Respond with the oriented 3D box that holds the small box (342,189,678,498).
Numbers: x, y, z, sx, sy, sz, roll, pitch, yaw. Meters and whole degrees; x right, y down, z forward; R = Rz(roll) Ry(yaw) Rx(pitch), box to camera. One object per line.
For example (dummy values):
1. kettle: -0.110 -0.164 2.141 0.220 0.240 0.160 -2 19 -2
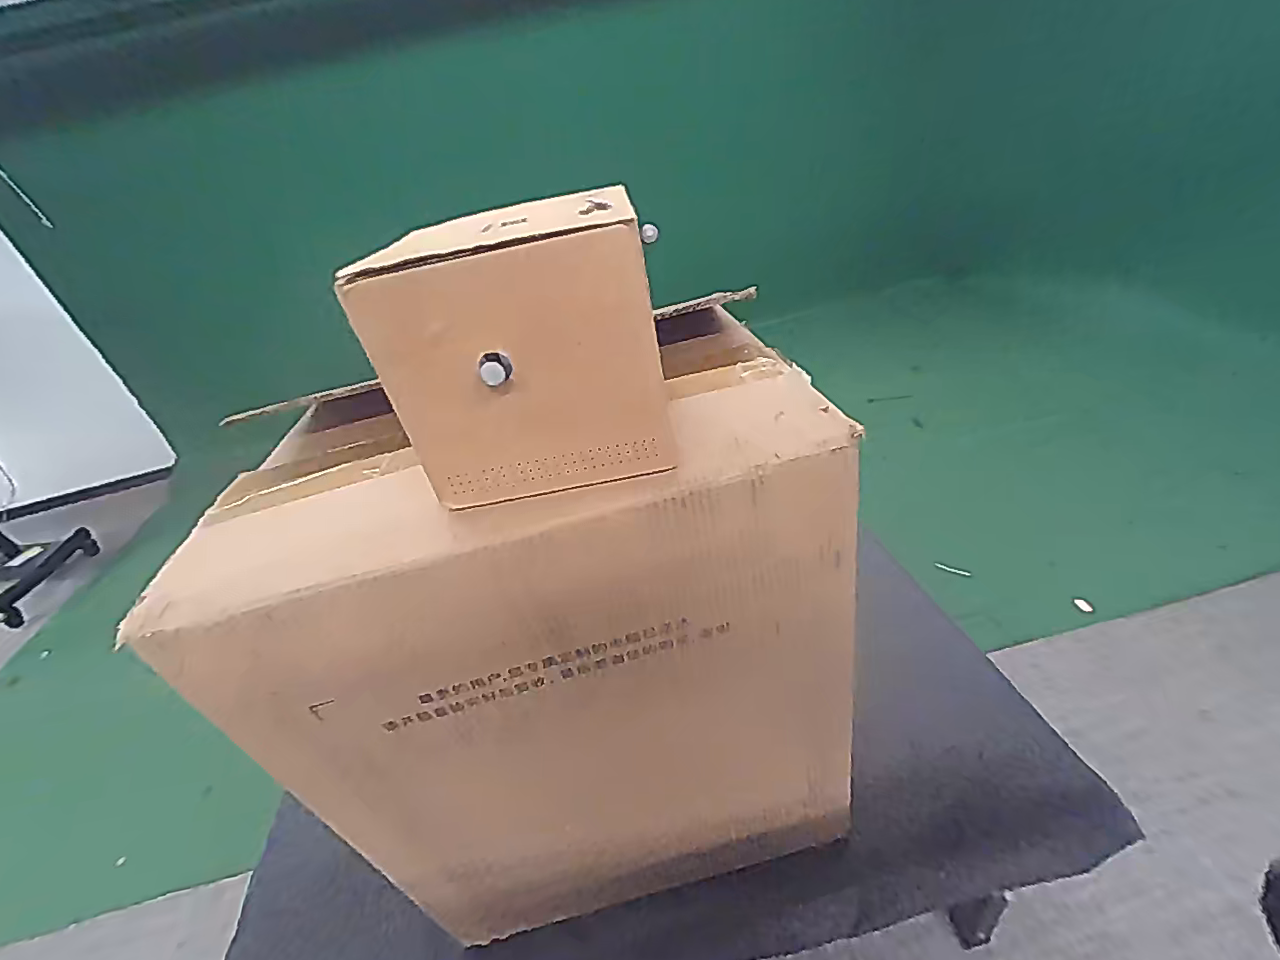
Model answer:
1. small box: -0.077 -0.104 0.414 0.179 0.176 0.168 -11 35 3
